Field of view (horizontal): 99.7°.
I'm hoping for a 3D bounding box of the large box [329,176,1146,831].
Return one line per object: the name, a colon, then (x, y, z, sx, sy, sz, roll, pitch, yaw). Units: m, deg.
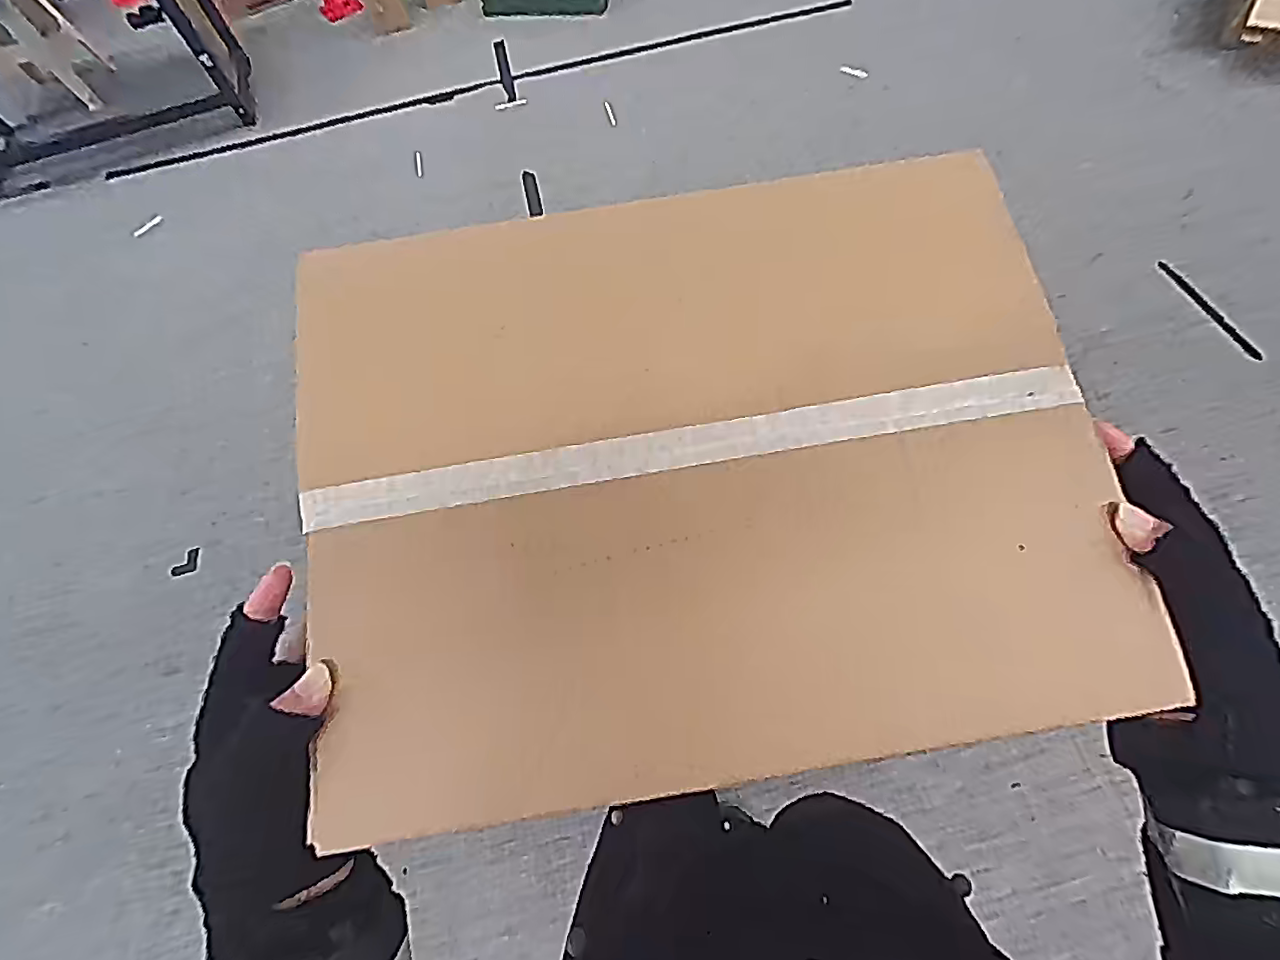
large box: (0.032, 0.025, 0.441, 0.408, 0.320, 0.320, -9, 77, -1)
